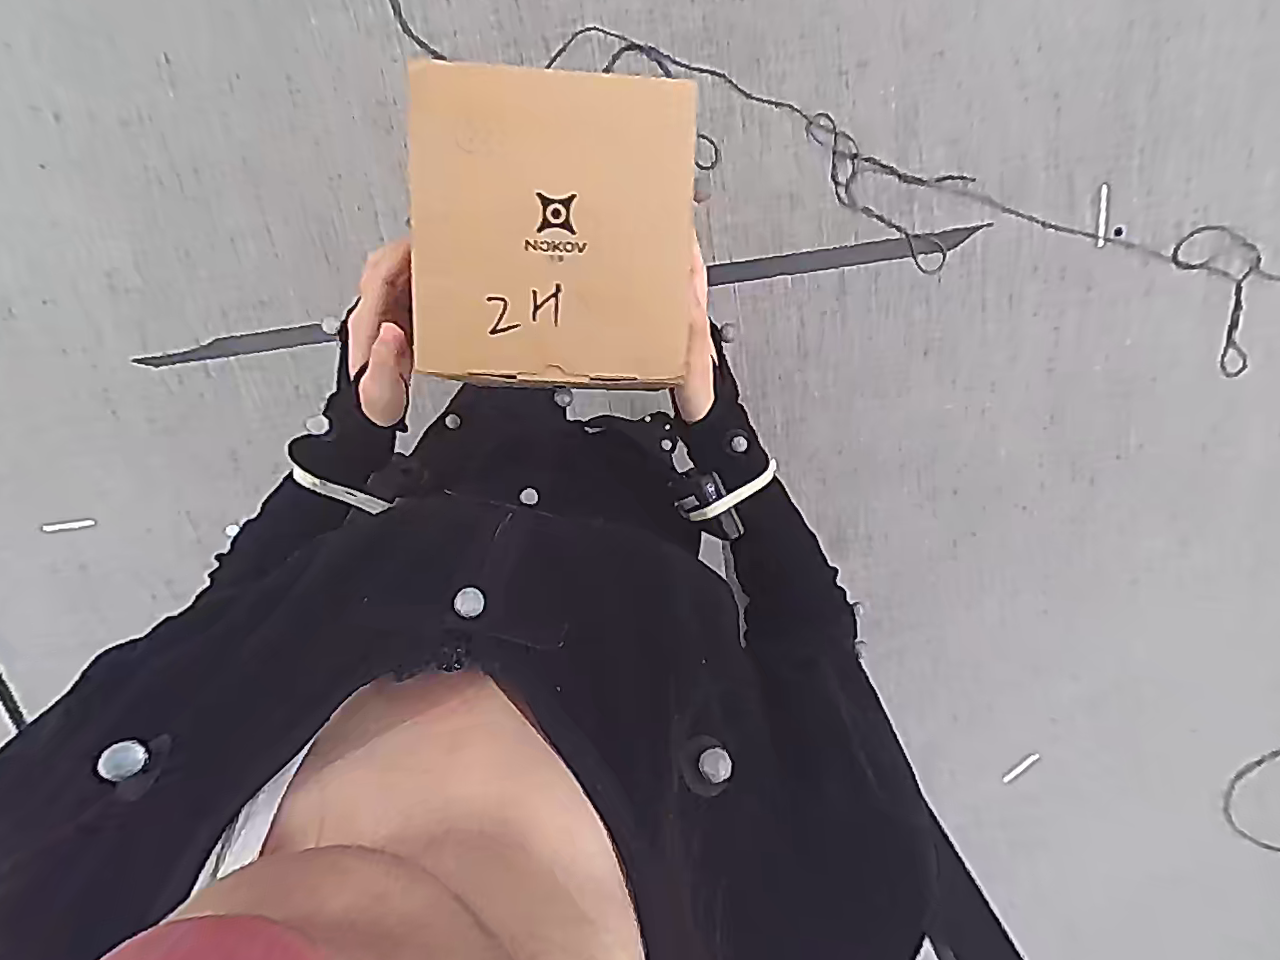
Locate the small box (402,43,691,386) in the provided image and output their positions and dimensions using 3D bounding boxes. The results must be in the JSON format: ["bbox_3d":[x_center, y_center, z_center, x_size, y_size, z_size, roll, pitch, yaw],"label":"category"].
[{"bbox_3d":[-0.060,-0.164,0.393,0.168,0.176,0.179,1,97,-4],"label":"small box"}]
